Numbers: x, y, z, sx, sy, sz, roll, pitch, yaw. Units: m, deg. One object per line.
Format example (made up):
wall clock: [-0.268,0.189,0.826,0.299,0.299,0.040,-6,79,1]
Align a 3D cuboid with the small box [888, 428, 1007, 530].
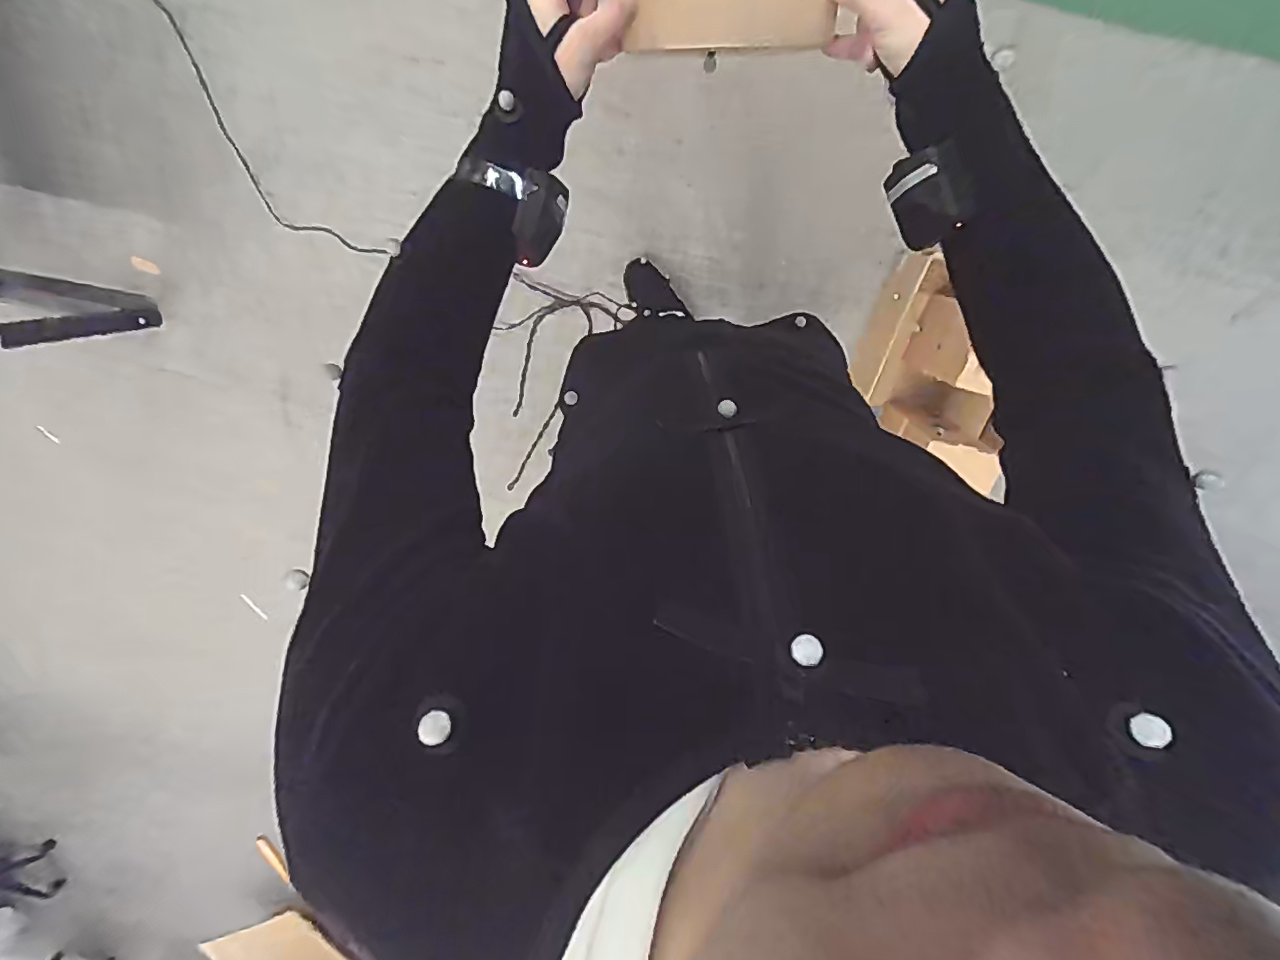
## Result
small box: [0.717,-0.010,1.286,0.168,0.176,0.179,14,113,2]

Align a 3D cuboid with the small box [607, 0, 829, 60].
small box: [0.065,-0.464,0.458,0.179,0.176,0.168,1,127,3]
